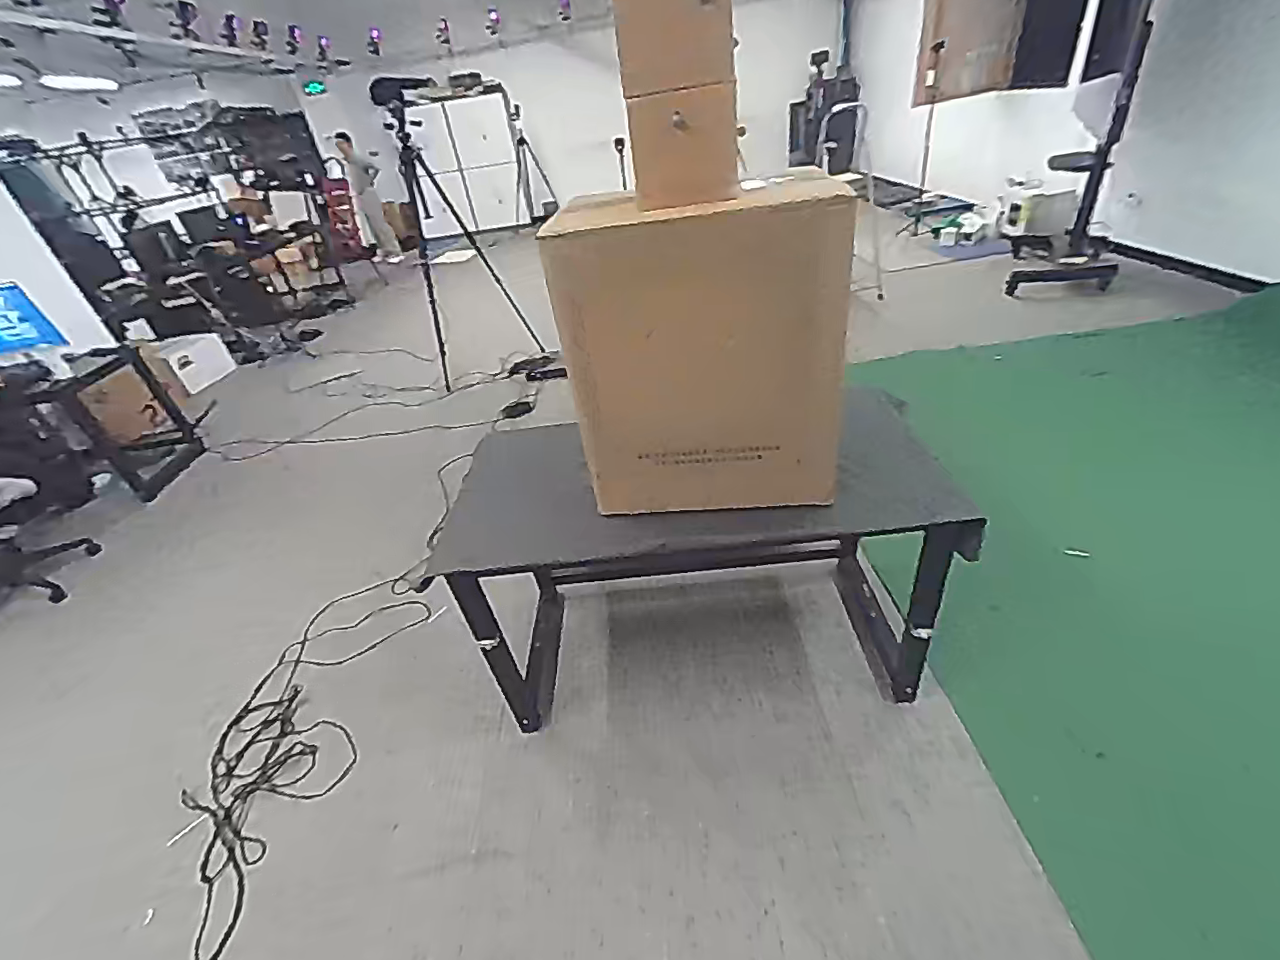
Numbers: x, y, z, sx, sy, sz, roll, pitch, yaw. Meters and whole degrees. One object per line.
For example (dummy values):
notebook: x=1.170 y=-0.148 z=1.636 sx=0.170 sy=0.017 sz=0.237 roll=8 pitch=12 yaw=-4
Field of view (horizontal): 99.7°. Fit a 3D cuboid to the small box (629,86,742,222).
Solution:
small box: x=0.087 y=-0.565 z=0.941 sx=0.179 sy=0.176 sz=0.168 roll=-3 pitch=38 yaw=10
